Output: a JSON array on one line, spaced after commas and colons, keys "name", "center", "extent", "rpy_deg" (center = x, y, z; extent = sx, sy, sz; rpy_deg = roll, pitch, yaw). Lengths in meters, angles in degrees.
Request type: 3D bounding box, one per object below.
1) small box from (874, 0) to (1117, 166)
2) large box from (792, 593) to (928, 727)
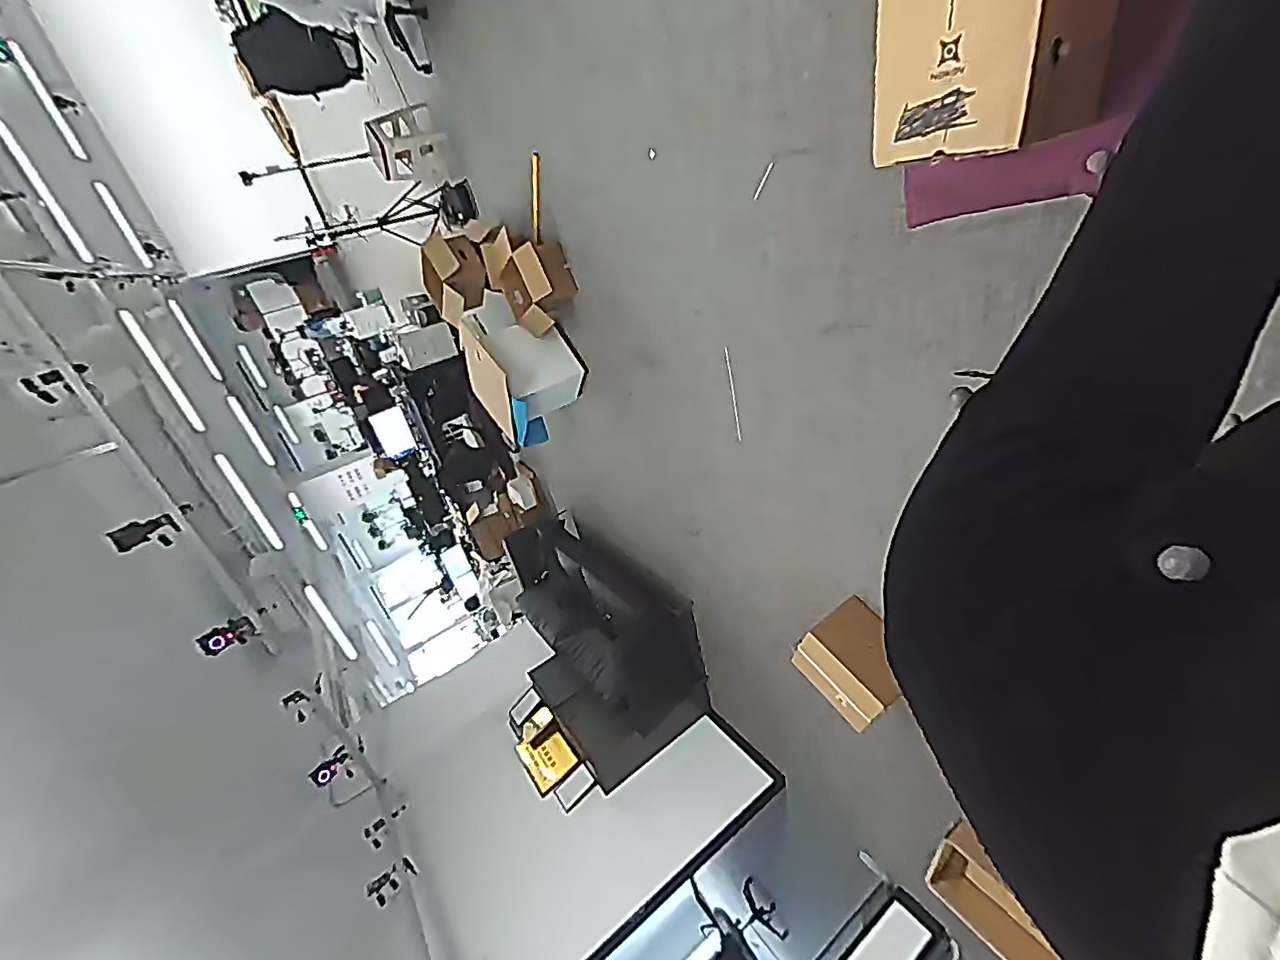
[{"name": "small box", "center": [0.380, -0.462, 0.587], "extent": [0.168, 0.176, 0.179], "rpy_deg": [29, 138, 48]}, {"name": "large box", "center": [0.956, 0.786, 2.389], "extent": [0.408, 0.320, 0.320], "rpy_deg": [44, 151, 31]}]
